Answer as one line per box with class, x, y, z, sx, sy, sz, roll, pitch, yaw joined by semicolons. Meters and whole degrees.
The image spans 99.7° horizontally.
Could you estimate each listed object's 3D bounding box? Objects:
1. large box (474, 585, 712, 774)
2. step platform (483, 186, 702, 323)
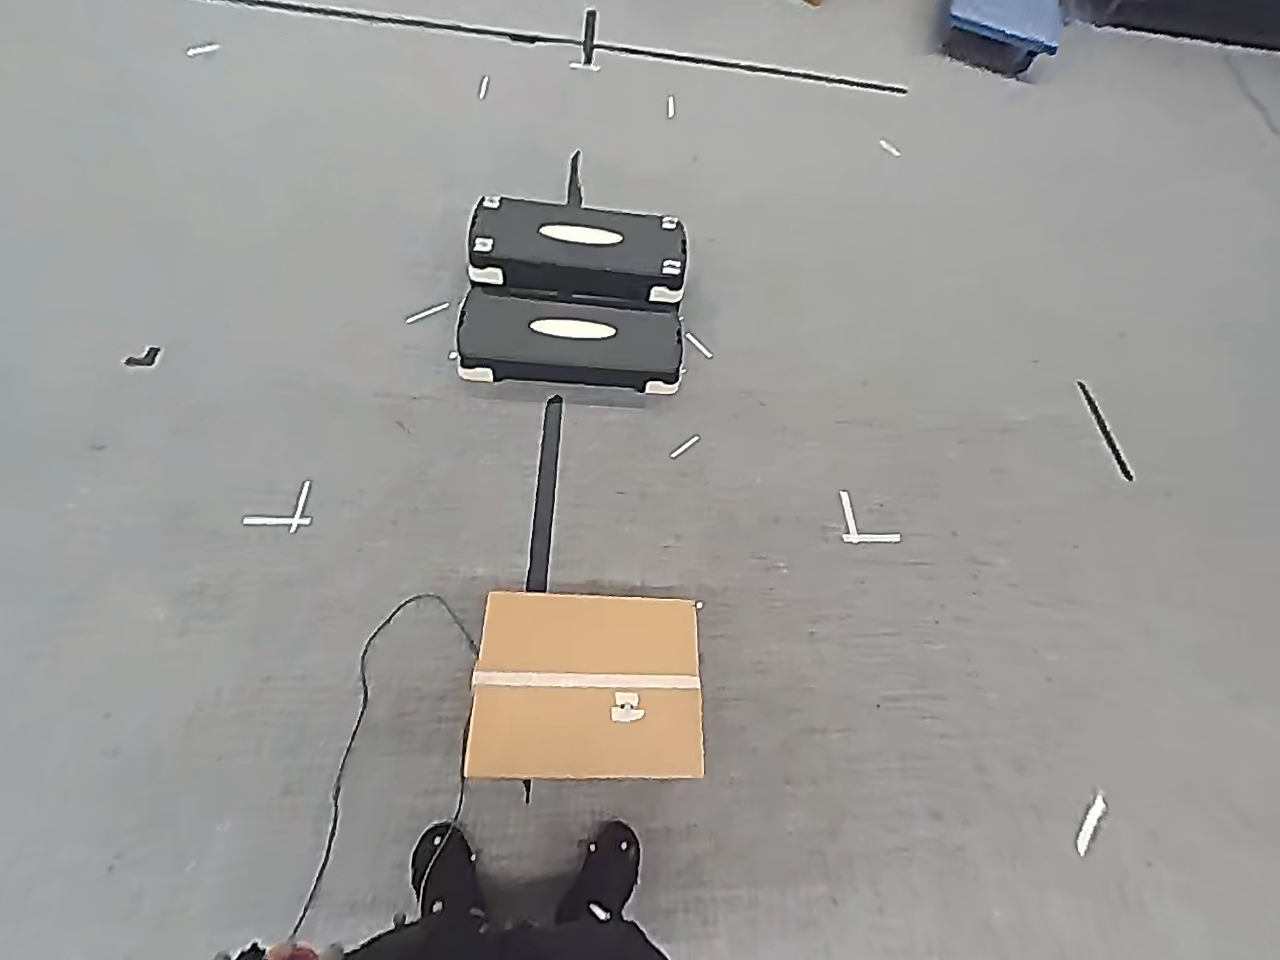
large box;-0.096;0.415;1.090;0.408;0.320;0.320;5;62;-7
step platform;-0.145;-0.722;1.738;0.684;0.204;0.286;9;62;-4
